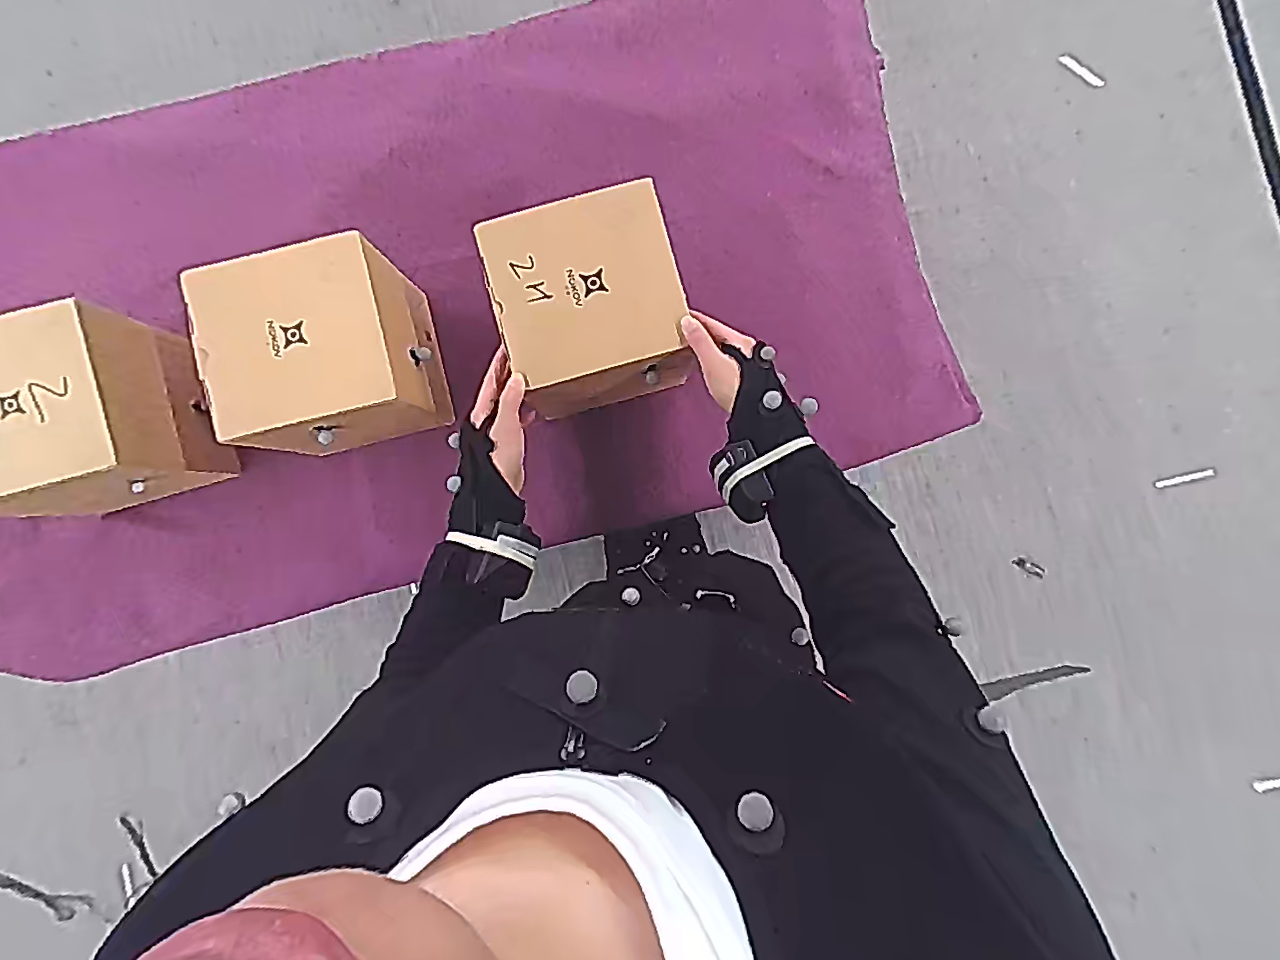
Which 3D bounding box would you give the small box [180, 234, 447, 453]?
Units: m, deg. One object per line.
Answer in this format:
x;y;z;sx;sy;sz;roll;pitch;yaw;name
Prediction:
-0.325;-0.130;0.580;0.179;0.176;0.168;-14;88;0;small box

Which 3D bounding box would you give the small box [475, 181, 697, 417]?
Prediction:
-0.050;-0.176;0.577;0.179;0.176;0.168;-15;87;0;small box
